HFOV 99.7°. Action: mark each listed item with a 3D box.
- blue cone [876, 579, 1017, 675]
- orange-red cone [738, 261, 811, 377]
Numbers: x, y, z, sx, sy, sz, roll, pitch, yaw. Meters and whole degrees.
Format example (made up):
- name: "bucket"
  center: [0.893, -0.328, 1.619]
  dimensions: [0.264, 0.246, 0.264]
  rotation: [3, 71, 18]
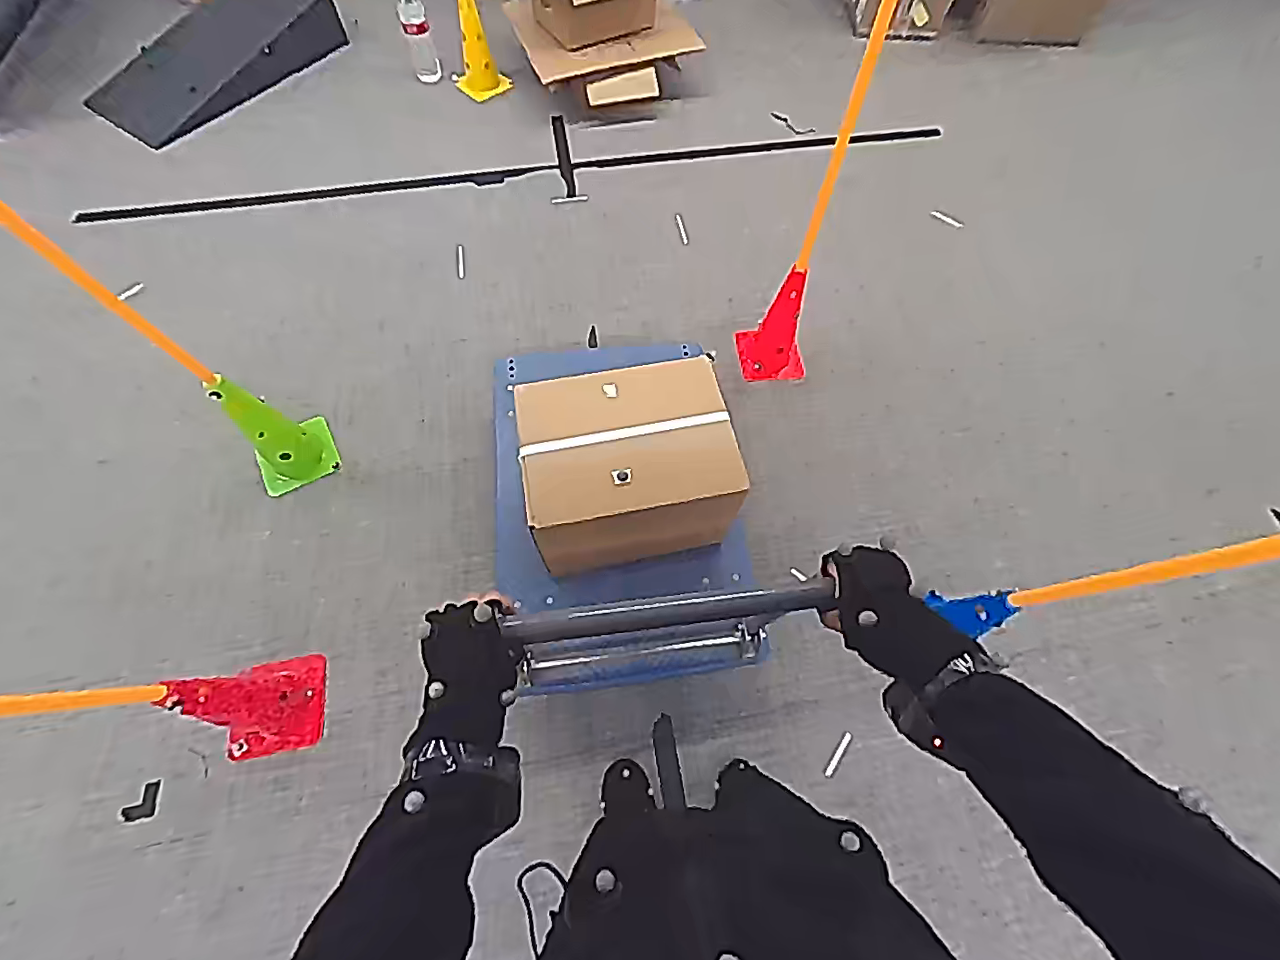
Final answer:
- name: "blue cone"
  center: [0.711, 0.302, 1.205]
  dimensions: [0.193, 0.380, 0.192]
  rotation: [-12, 64, -8]
- name: "orange-red cone"
  center: [0.425, -0.483, 1.566]
  dimensions: [0.199, 0.360, 0.198]
  rotation: [-2, 65, -4]
